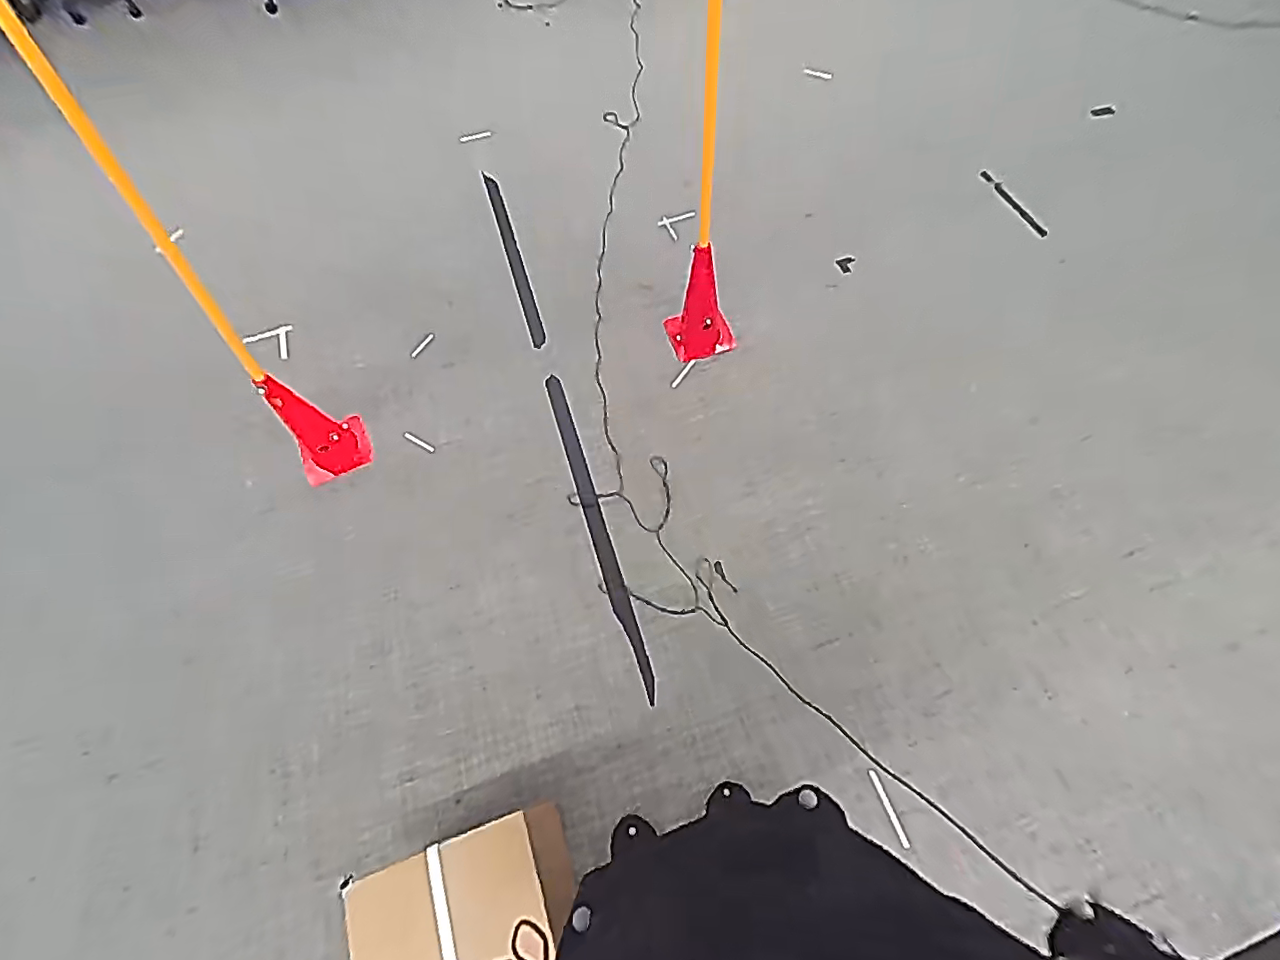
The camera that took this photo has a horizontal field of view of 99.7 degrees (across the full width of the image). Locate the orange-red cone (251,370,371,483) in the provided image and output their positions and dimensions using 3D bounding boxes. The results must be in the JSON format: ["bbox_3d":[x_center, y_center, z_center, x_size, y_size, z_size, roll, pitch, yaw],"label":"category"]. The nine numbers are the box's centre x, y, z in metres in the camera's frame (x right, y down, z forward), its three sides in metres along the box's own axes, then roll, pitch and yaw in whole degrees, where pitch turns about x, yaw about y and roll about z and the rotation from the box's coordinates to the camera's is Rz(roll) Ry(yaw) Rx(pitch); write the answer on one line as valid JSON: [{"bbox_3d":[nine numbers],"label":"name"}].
[{"bbox_3d":[-0.947,-0.177,1.508,0.199,0.360,0.198,-26,63,-9],"label":"orange-red cone"}]
